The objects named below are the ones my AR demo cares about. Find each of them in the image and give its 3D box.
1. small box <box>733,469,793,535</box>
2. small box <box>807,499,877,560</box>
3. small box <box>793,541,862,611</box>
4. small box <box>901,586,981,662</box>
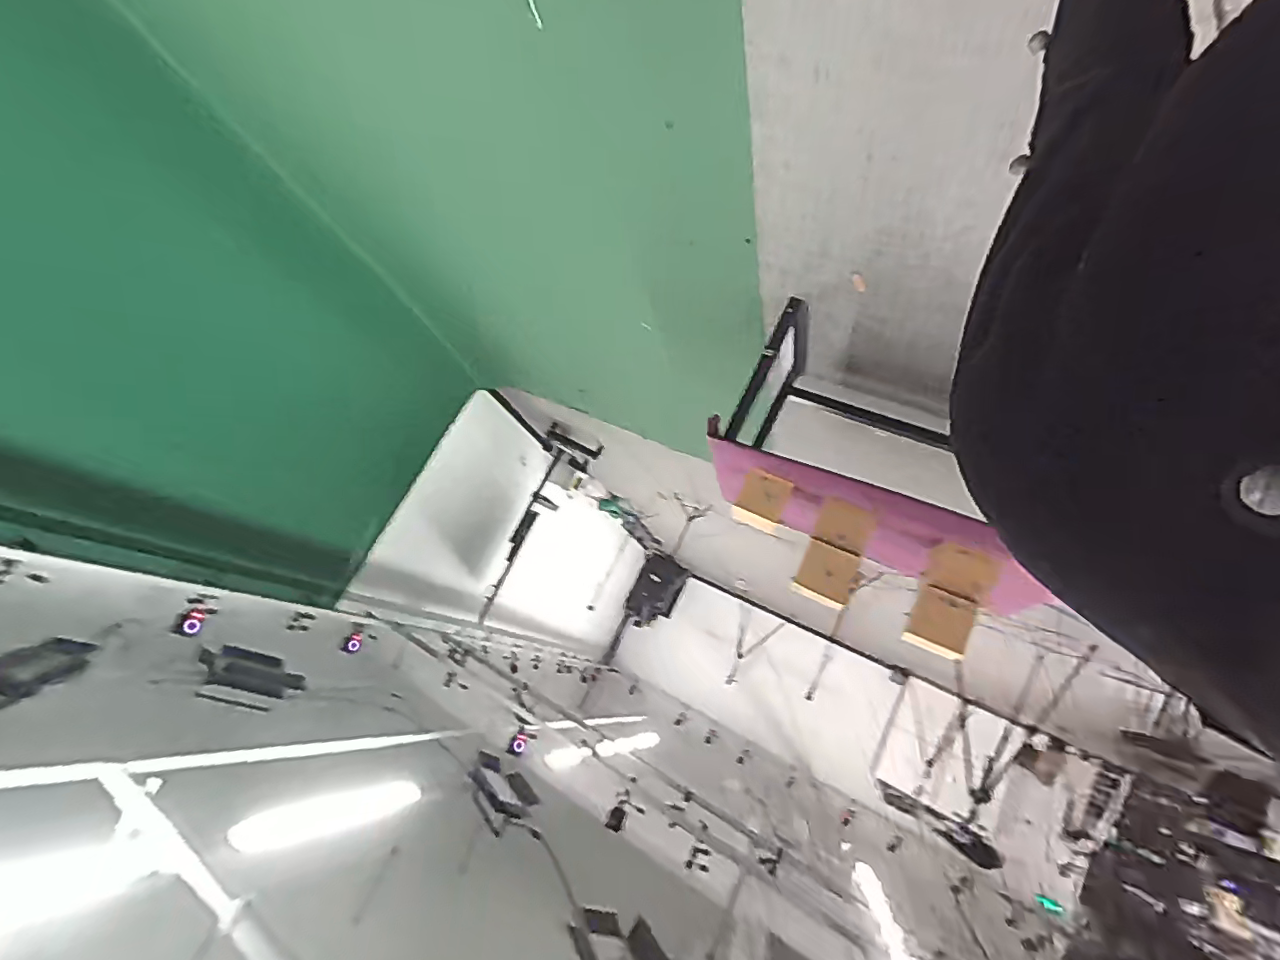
[{"bbox_3d":[0.453,0.080,1.994,0.168,0.176,0.179,23,166,15],"label":"small box"},{"bbox_3d":[0.705,0.185,1.891,0.179,0.176,0.168,24,167,19],"label":"small box"},{"bbox_3d":[0.636,0.326,1.839,0.179,0.176,0.168,22,166,20],"label":"small box"},{"bbox_3d":[0.947,0.453,1.704,0.168,0.176,0.179,21,166,25],"label":"small box"}]
